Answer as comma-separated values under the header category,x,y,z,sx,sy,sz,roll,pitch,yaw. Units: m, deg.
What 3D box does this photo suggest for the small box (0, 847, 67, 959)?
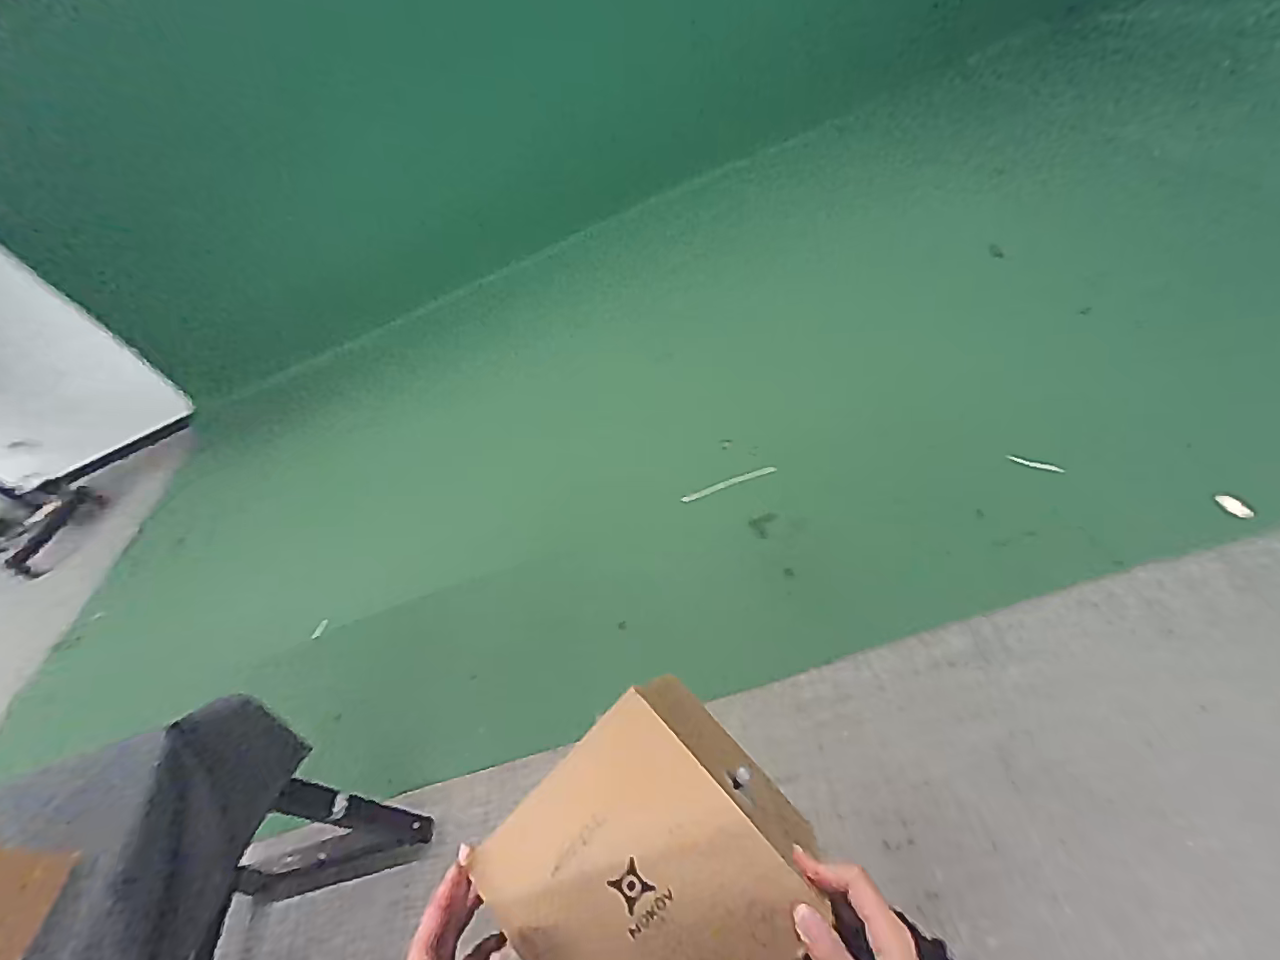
category,x,y,z,sx,sy,sz,roll,pitch,yaw
small box,-0.926,0.582,0.696,0.168,0.176,0.179,-16,45,14
